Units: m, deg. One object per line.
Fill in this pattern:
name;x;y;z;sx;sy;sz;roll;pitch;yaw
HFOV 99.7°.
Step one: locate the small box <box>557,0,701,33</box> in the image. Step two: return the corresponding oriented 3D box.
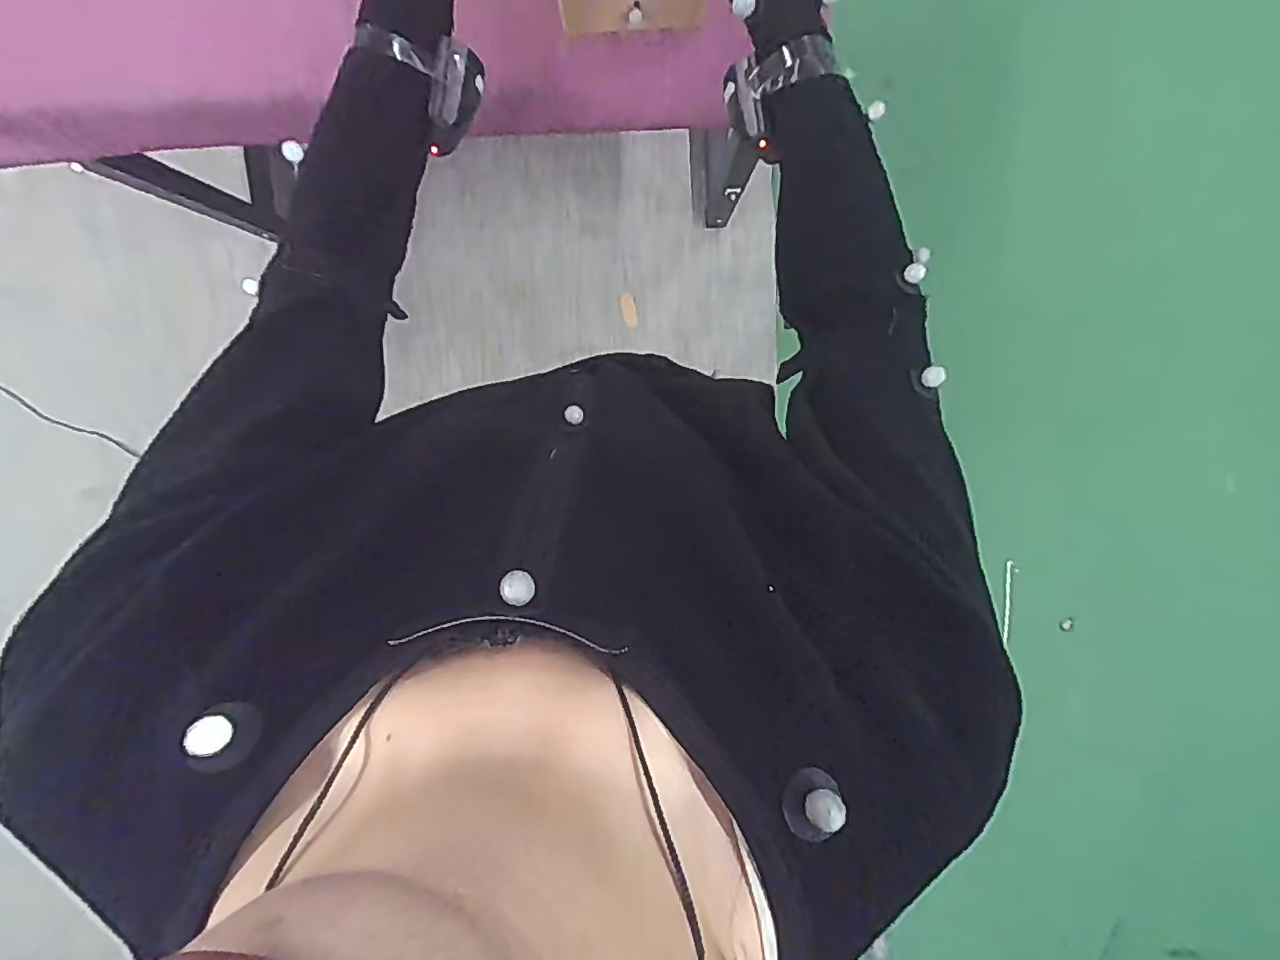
small box;-0.013;-0.625;0.580;0.179;0.176;0.168;-3;97;1
